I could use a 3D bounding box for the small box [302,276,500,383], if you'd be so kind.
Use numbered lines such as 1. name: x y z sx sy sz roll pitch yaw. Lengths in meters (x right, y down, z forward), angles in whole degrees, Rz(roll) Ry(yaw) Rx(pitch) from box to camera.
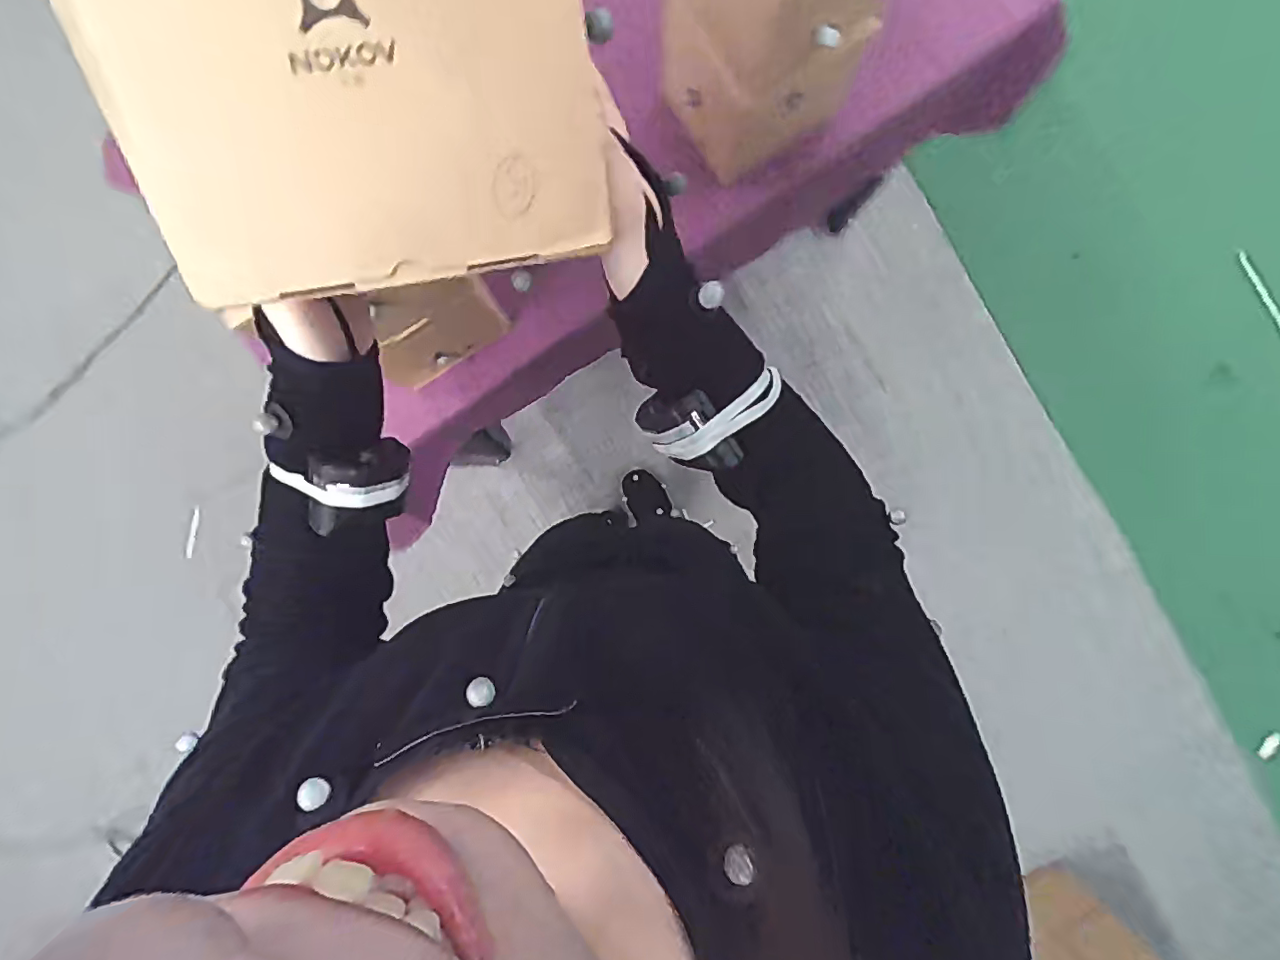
1. small box: -0.305 -0.244 0.684 0.168 0.176 0.179 -33 91 1

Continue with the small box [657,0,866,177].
1. small box: 0.136 -0.522 0.670 0.179 0.176 0.168 -32 91 1

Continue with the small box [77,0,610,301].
1. small box: -0.105 -0.192 0.252 0.168 0.176 0.179 -8 115 -3
